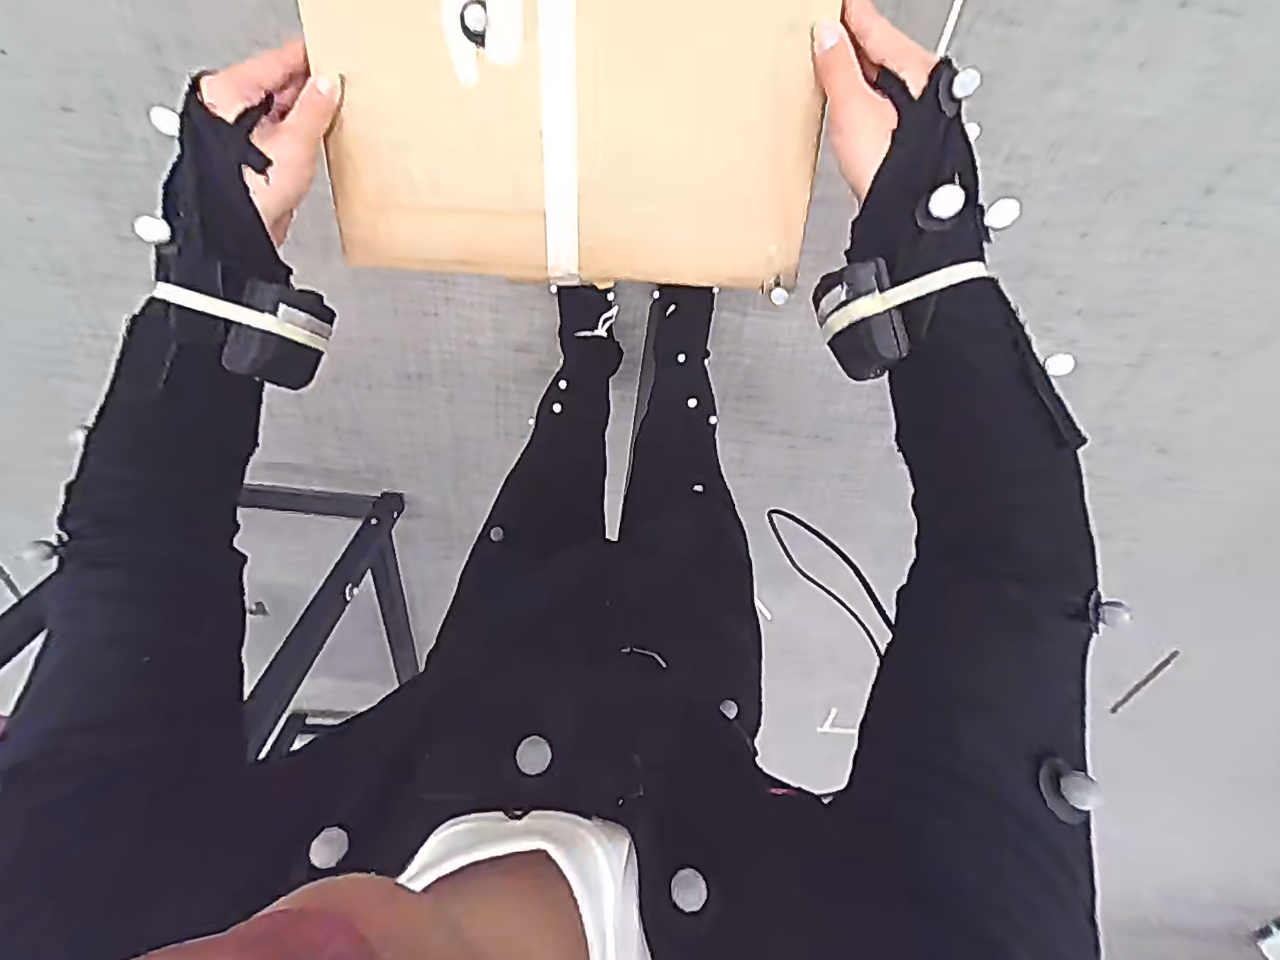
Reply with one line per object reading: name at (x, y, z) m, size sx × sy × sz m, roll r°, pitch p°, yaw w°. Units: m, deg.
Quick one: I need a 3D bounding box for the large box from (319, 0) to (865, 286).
large box at (-0.020, -0.381, 0.408) m, size 0.320 × 0.320 × 0.408 m, roll 4°, pitch 117°, yaw 4°
